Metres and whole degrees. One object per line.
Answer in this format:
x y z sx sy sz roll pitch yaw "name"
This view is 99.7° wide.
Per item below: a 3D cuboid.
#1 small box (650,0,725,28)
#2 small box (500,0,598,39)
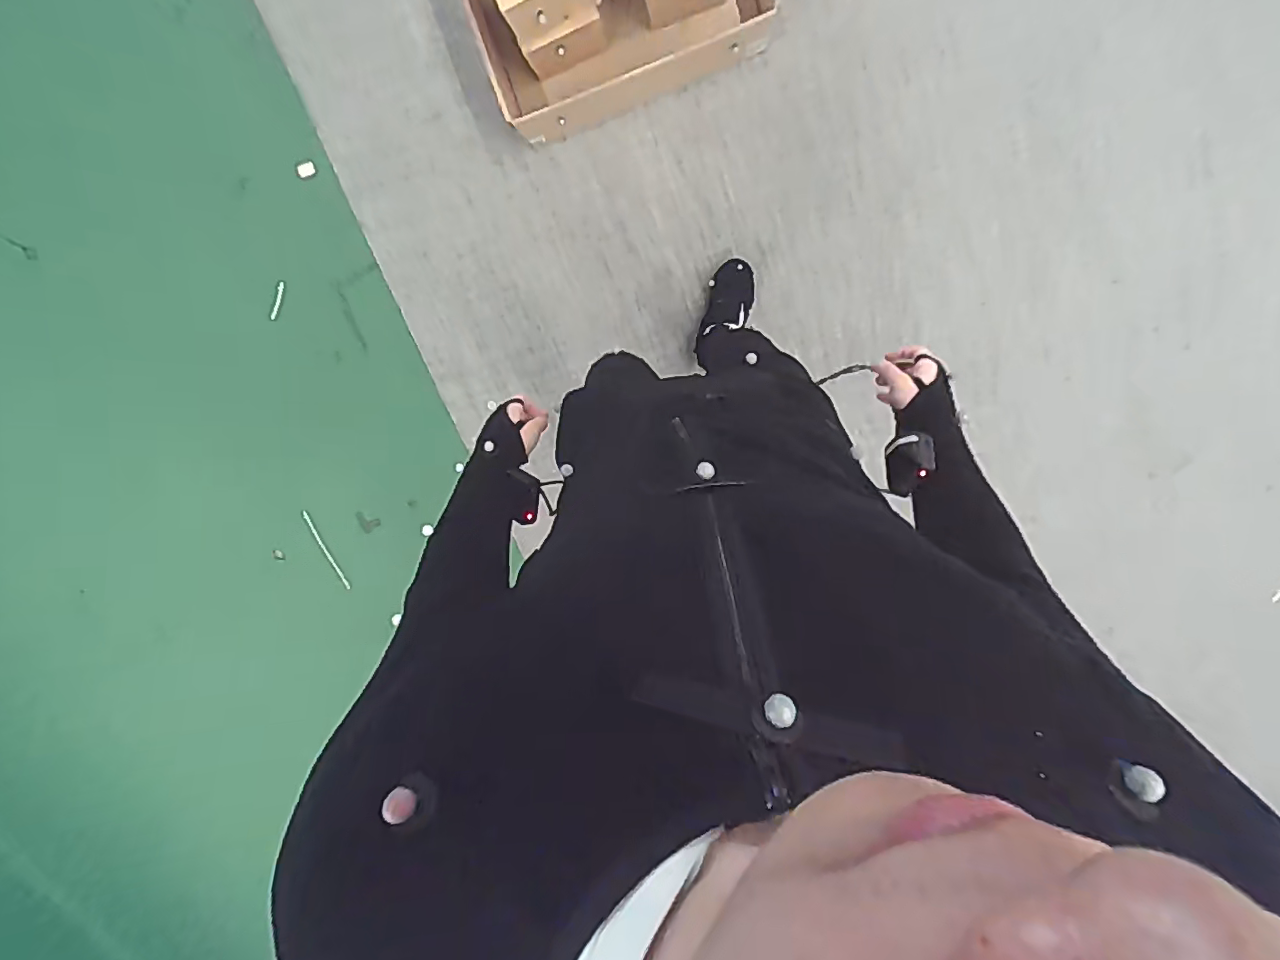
0.092 -1.085 1.112 0.179 0.176 0.168 -12 109 11 "small box"
-0.192 -0.974 1.010 0.168 0.176 0.179 -19 107 12 "small box"
